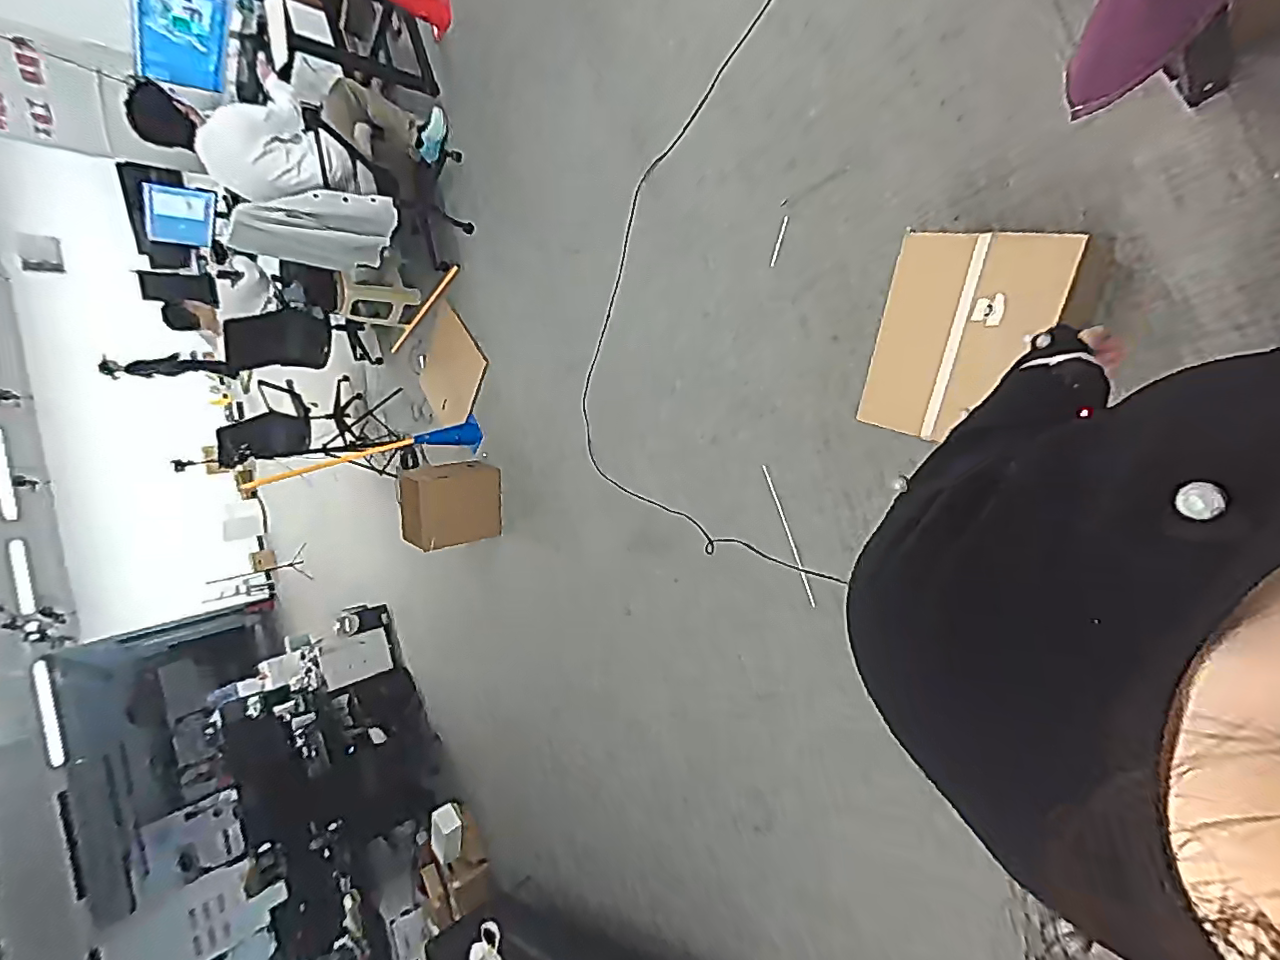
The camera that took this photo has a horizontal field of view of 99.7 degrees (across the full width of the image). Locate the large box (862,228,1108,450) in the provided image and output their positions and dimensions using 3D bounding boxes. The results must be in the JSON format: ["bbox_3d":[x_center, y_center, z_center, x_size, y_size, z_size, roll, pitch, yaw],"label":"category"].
[{"bbox_3d":[0.742,-0.307,1.182,0.320,0.320,0.408,25,116,40],"label":"large box"}]
